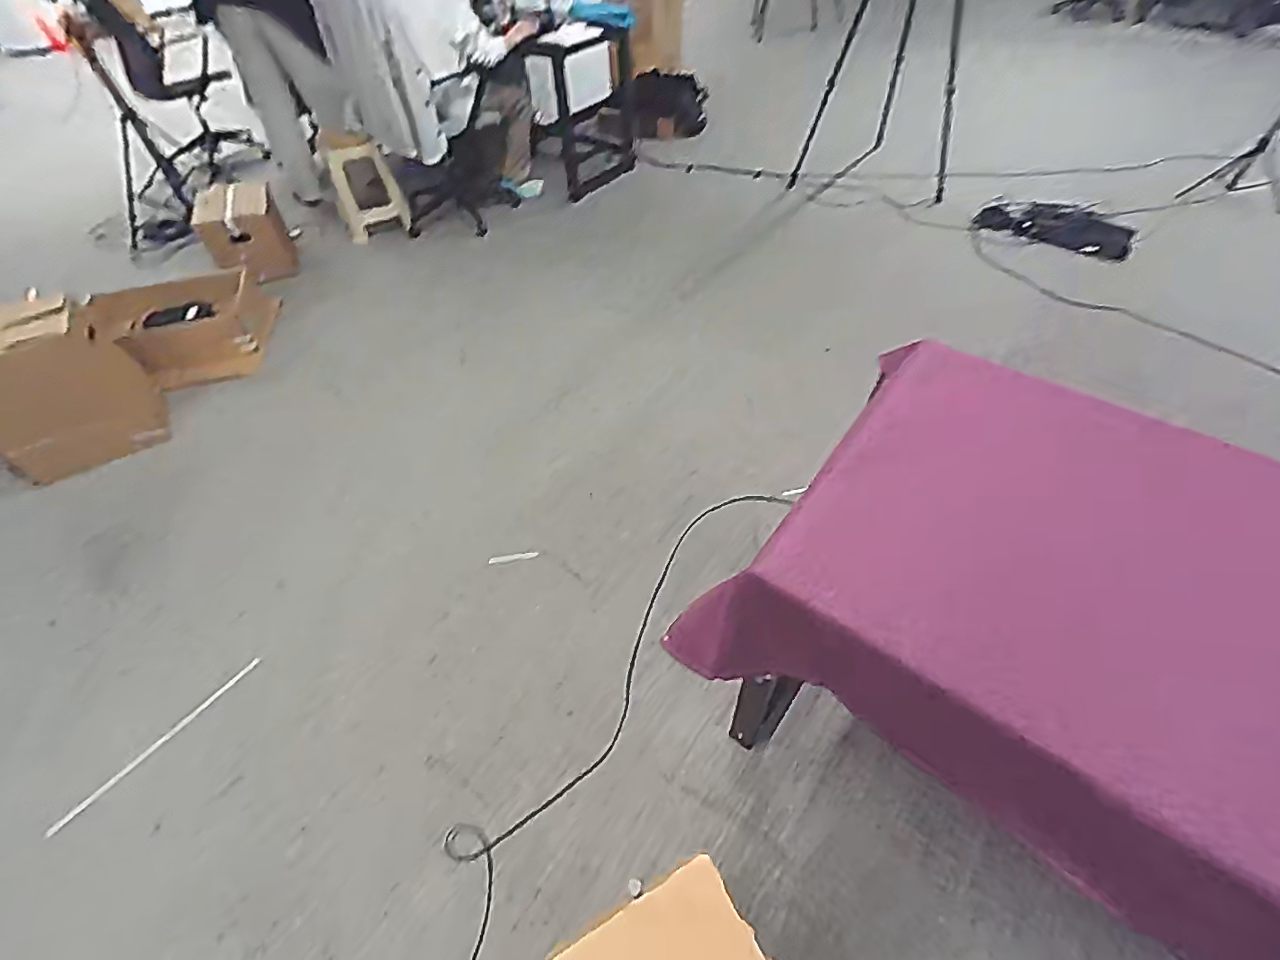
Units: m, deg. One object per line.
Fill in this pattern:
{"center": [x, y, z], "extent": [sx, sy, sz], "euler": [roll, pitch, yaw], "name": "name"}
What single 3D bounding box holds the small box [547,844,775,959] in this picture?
{"center": [0.027, 0.474, 0.505], "extent": [0.179, 0.176, 0.168], "euler": [-23, 58, -18], "name": "small box"}
